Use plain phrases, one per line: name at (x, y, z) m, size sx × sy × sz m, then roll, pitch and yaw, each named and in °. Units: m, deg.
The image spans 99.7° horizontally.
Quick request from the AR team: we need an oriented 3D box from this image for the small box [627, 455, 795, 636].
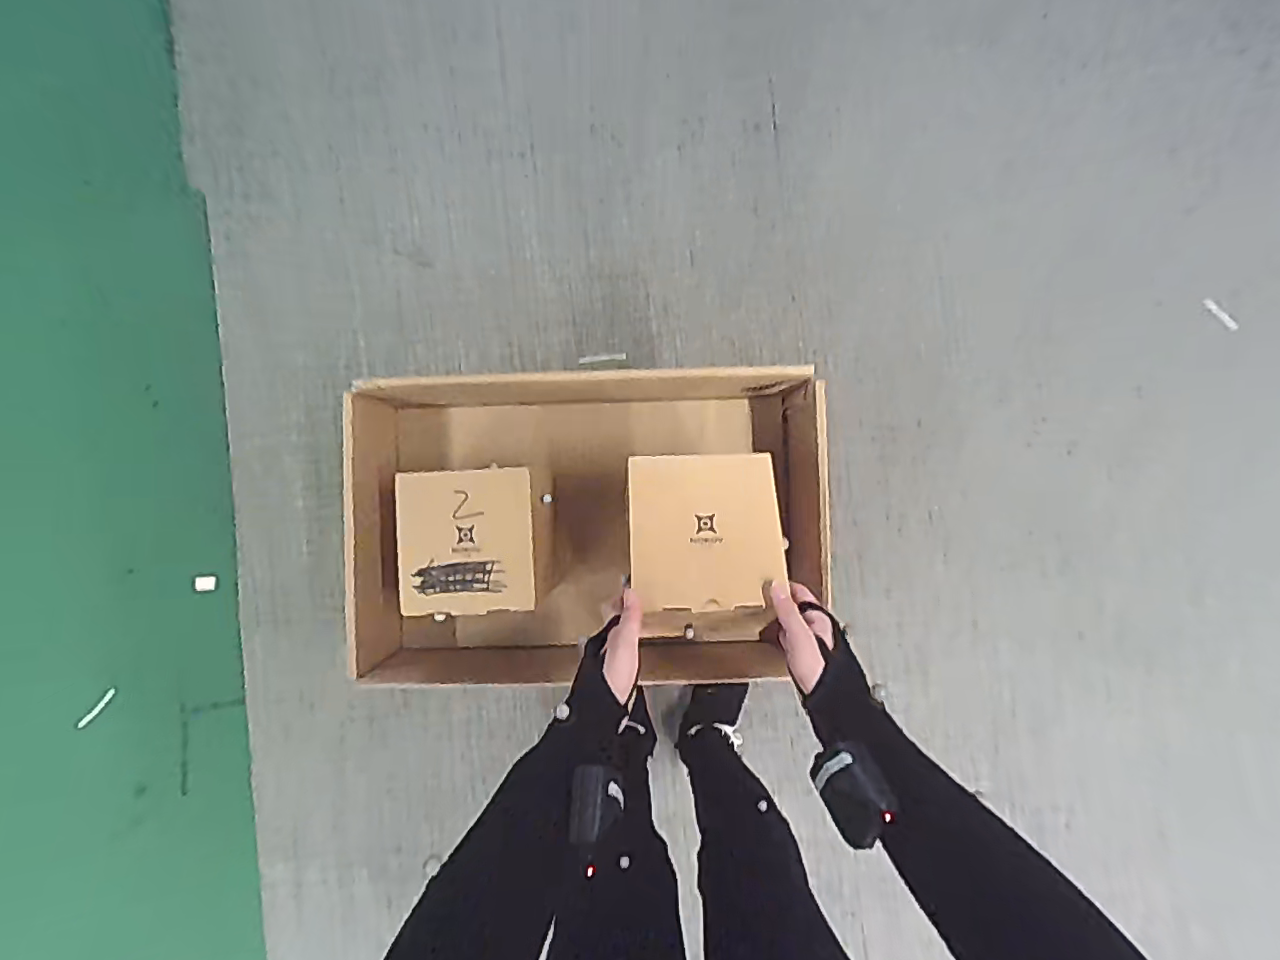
small box at (0.070, 0.084, 0.646) m, size 0.168 × 0.176 × 0.179 m, roll -1°, pitch 67°, yaw -2°
